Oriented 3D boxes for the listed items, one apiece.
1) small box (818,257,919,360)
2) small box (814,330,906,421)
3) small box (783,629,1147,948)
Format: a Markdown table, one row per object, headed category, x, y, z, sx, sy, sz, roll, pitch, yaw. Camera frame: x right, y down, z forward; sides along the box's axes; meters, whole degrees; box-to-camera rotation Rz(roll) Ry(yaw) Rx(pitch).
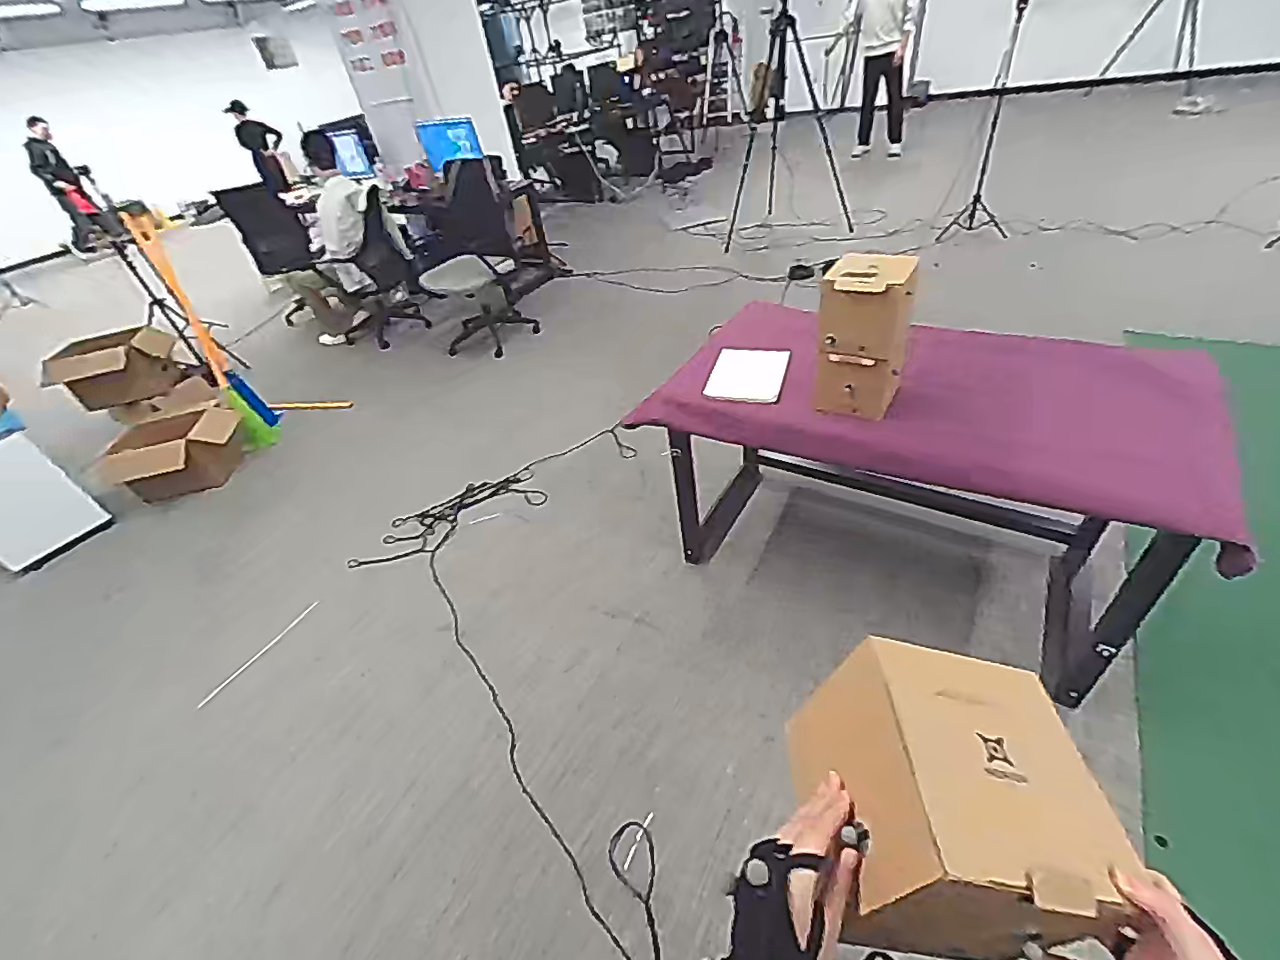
| category | x | y | z | sx | sy | sz | roll | pitch | yaw |
| --- | --- | --- | --- | --- | --- | --- | --- | --- | --- |
| small box | 0.511 | -0.389 | 1.225 | 0.168 | 0.176 | 0.179 | 18 | 46 | 30 |
| small box | 0.538 | -0.267 | 1.334 | 0.168 | 0.176 | 0.179 | 18 | 48 | 29 |
| small box | 0.239 | 0.261 | 0.457 | 0.168 | 0.176 | 0.179 | 15 | 37 | -7 |
